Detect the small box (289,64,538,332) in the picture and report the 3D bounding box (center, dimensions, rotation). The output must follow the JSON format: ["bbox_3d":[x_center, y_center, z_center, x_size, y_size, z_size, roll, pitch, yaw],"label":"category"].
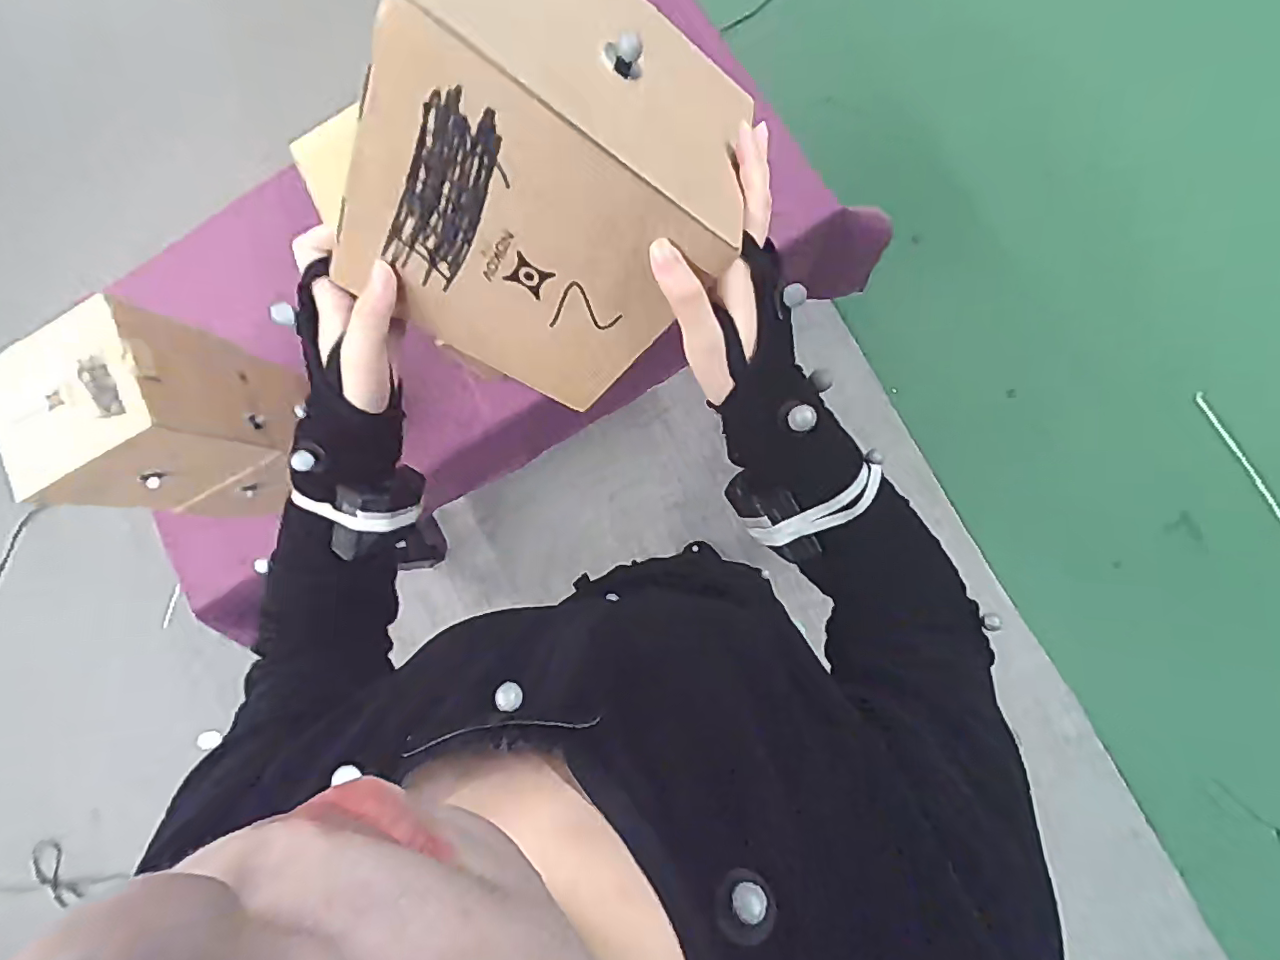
[{"bbox_3d":[-0.242,-0.302,0.618,0.168,0.176,0.179,-28,83,4],"label":"small box"}]

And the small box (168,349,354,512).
[{"bbox_3d":[-0.574,-0.060,0.804,0.179,0.176,0.168,-28,82,3],"label":"small box"}]

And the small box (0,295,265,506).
[{"bbox_3d":[-0.592,-0.080,0.642,0.179,0.176,0.168,-29,82,5],"label":"small box"}]

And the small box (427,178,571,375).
[{"bbox_3d":[-0.214,-0.278,0.777,0.179,0.176,0.168,-29,81,4],"label":"small box"}]
